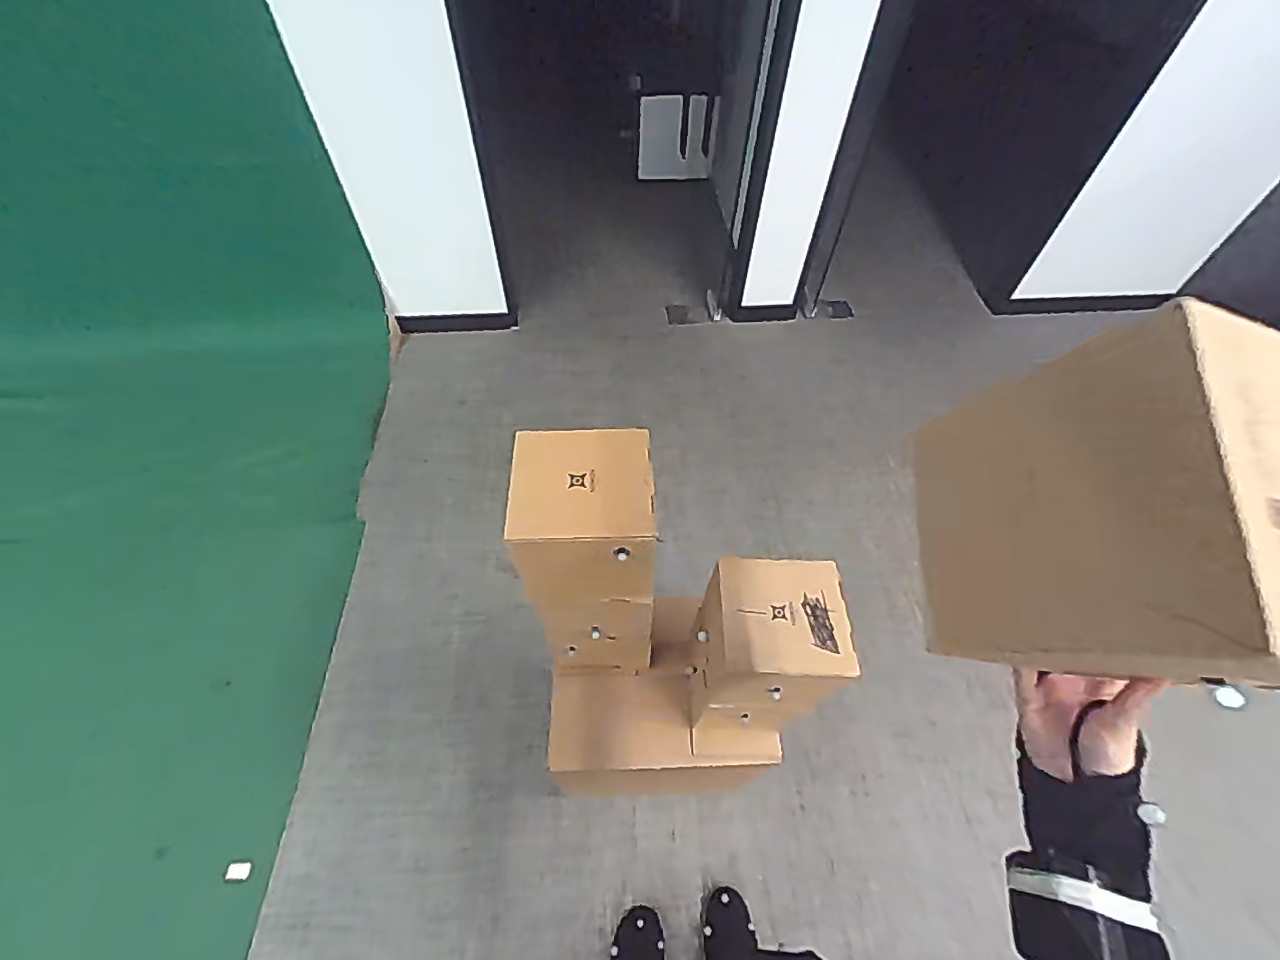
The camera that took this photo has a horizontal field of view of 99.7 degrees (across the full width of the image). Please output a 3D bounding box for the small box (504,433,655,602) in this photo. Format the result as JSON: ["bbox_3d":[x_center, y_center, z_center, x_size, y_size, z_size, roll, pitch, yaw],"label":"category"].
[{"bbox_3d":[-0.071,0.055,0.728,0.179,0.176,0.168,-3,54,-1],"label":"small box"}]

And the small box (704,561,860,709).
[{"bbox_3d":[0.196,0.233,0.801,0.179,0.176,0.168,1,54,0],"label":"small box"}]

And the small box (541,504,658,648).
[{"bbox_3d":[-0.059,0.150,0.861,0.168,0.176,0.179,2,54,2],"label":"small box"}]

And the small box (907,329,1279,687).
[{"bbox_3d":[0.295,0.030,0.321,0.176,0.179,0.168,11,70,-14],"label":"small box"}]

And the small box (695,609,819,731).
[{"bbox_3d":[0.188,0.331,0.933,0.179,0.176,0.168,0,56,0],"label":"small box"}]
